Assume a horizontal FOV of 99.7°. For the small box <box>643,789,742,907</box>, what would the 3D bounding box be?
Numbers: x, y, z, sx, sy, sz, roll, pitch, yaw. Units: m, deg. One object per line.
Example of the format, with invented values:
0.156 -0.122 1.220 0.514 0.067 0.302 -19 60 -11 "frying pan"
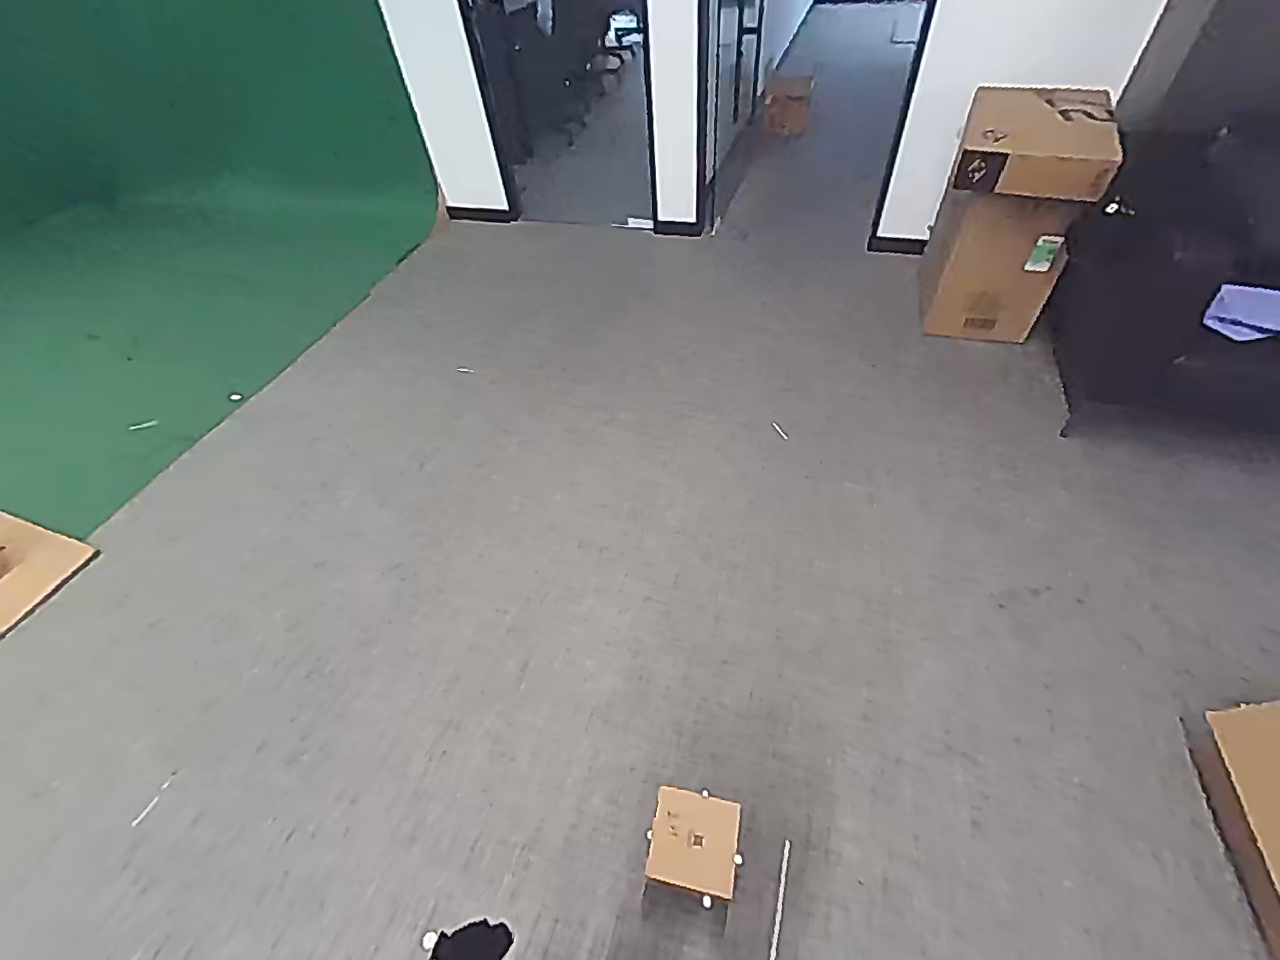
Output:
0.114 0.785 1.149 0.179 0.176 0.168 8 49 12 "small box"
